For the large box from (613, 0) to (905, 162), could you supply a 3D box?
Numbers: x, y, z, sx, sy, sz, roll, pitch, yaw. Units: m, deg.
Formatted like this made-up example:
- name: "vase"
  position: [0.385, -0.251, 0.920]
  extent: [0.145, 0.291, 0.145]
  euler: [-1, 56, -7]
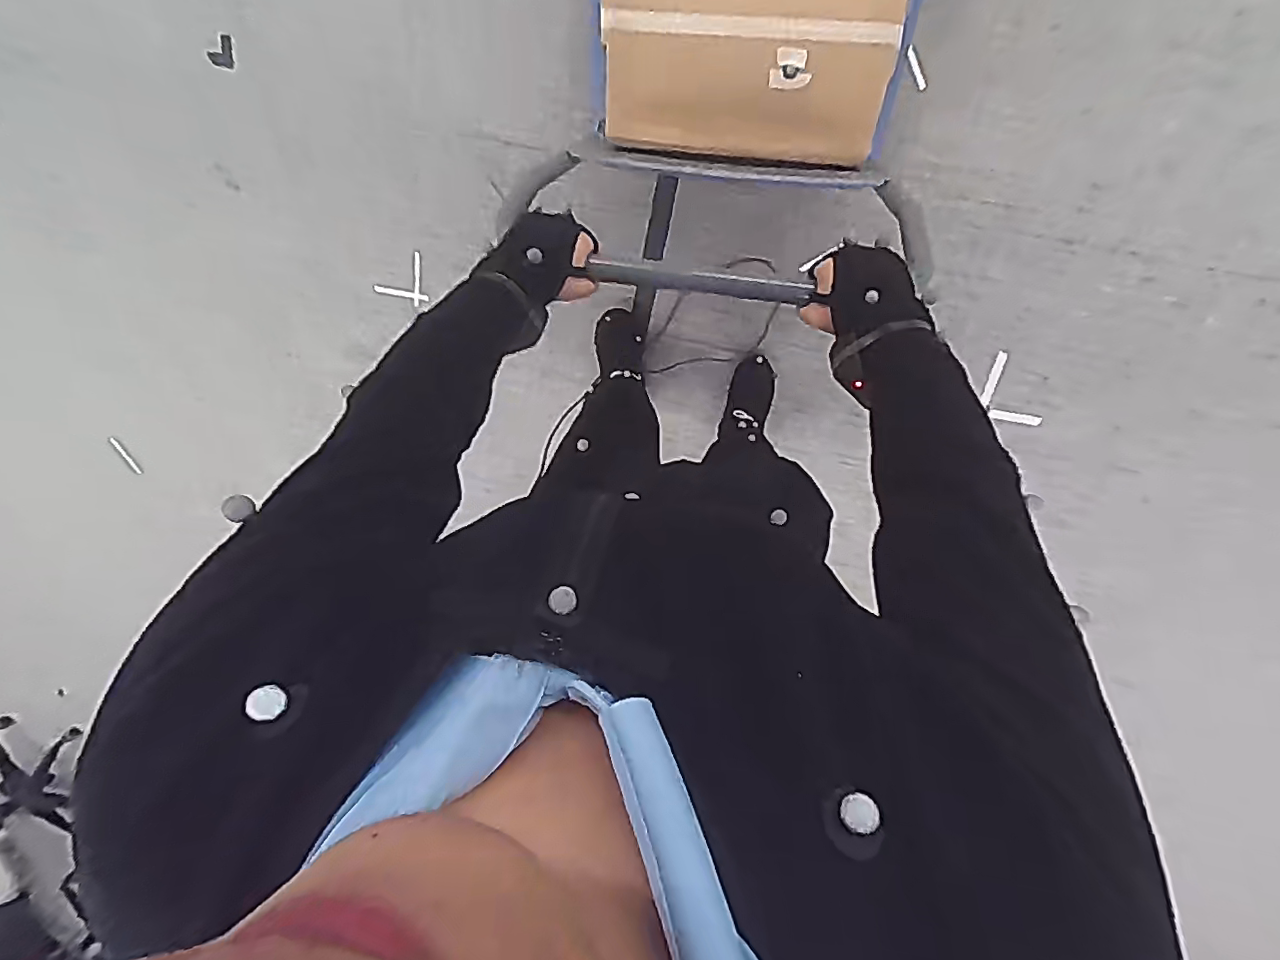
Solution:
- name: "large box"
  position: [0.179, -0.720, 0.882]
  extent: [0.408, 0.320, 0.320]
  euler: [8, 127, 6]
